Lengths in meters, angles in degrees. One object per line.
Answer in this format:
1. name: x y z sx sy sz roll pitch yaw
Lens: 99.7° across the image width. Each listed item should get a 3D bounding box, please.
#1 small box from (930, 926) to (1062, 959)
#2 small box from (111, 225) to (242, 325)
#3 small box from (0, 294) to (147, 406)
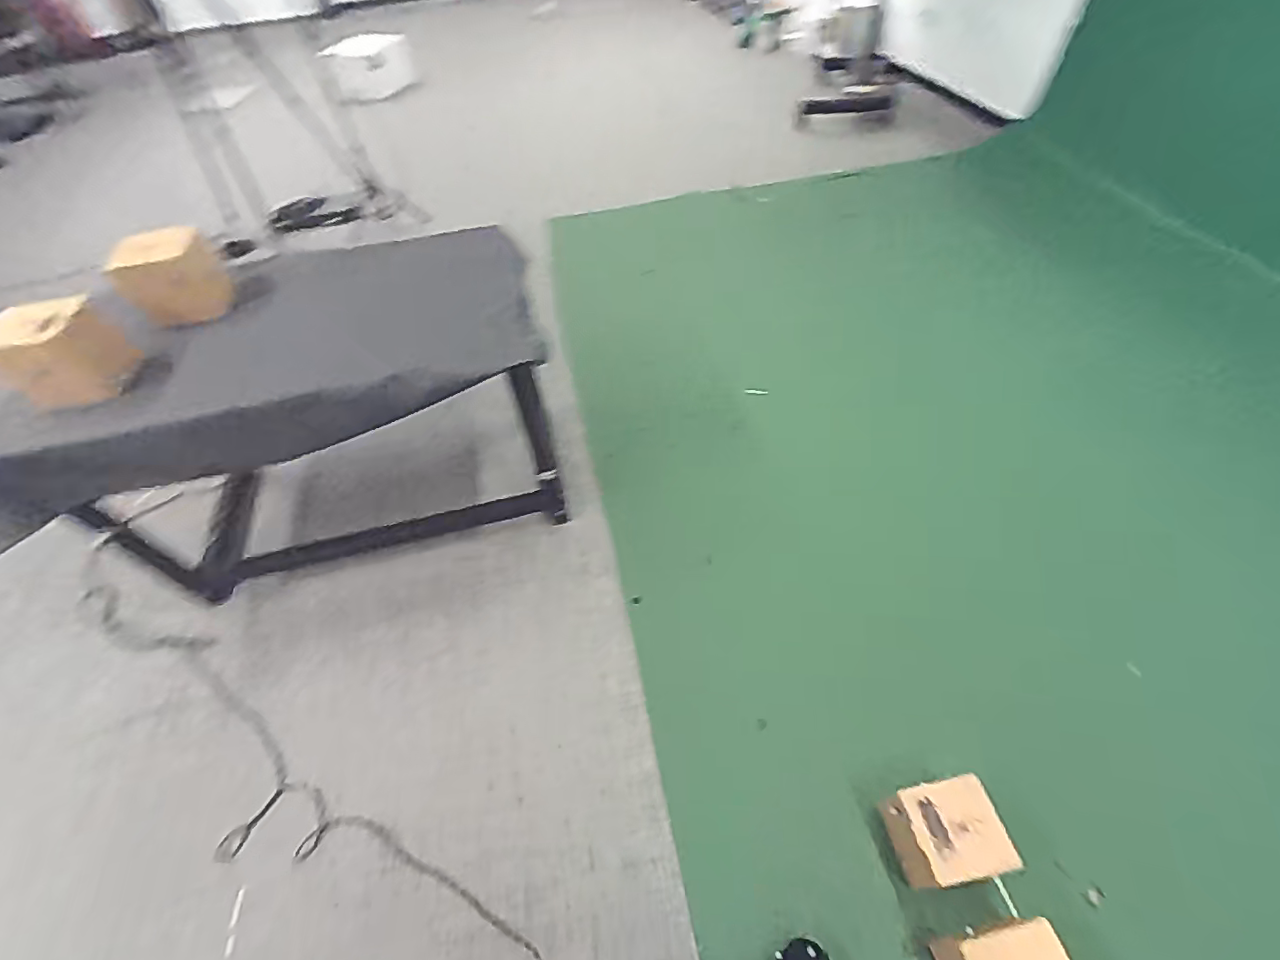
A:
1. small box: 0.677 0.944 0.993 0.179 0.176 0.168 -12 52 -4
2. small box: -1.173 -0.524 1.389 0.179 0.176 0.168 -12 52 -5
3. small box: -1.277 -0.288 1.210 0.179 0.176 0.168 -10 51 -3
